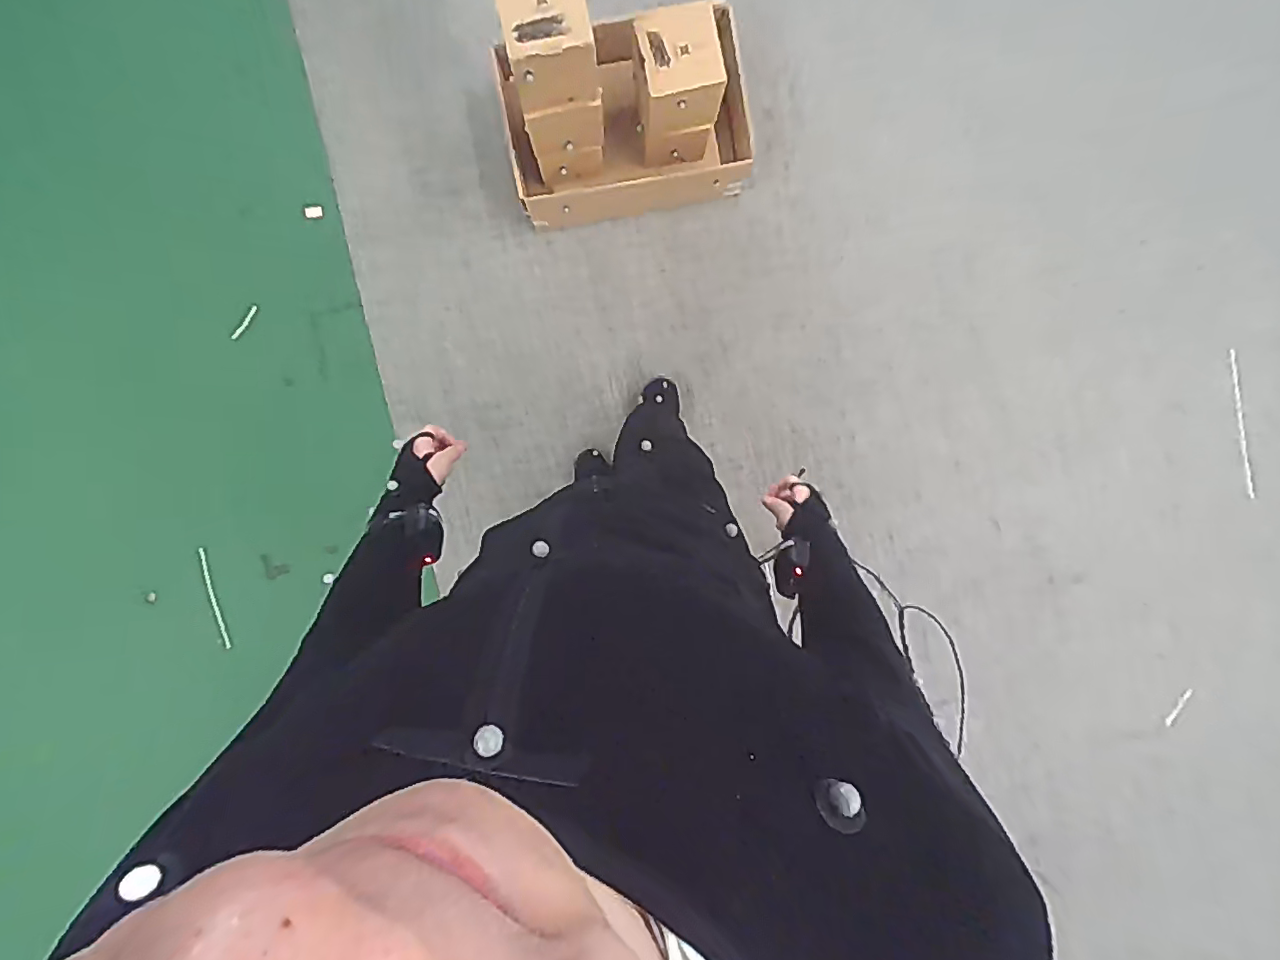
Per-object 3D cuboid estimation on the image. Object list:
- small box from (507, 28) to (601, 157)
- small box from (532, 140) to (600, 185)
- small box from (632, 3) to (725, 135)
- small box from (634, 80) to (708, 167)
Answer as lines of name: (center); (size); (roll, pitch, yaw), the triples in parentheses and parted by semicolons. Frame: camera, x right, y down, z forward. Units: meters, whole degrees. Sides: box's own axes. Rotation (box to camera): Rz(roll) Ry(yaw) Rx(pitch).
small box: (-0.189, -0.878, 1.240); (0.179, 0.176, 0.168); (-12, 94, -2)
small box: (-0.199, -0.893, 1.403); (0.168, 0.176, 0.179); (-10, 94, -2)
small box: (0.082, -0.931, 1.244); (0.179, 0.176, 0.168); (-14, 96, -1)
small box: (0.078, -0.945, 1.409); (0.168, 0.176, 0.179); (-9, 95, 0)
